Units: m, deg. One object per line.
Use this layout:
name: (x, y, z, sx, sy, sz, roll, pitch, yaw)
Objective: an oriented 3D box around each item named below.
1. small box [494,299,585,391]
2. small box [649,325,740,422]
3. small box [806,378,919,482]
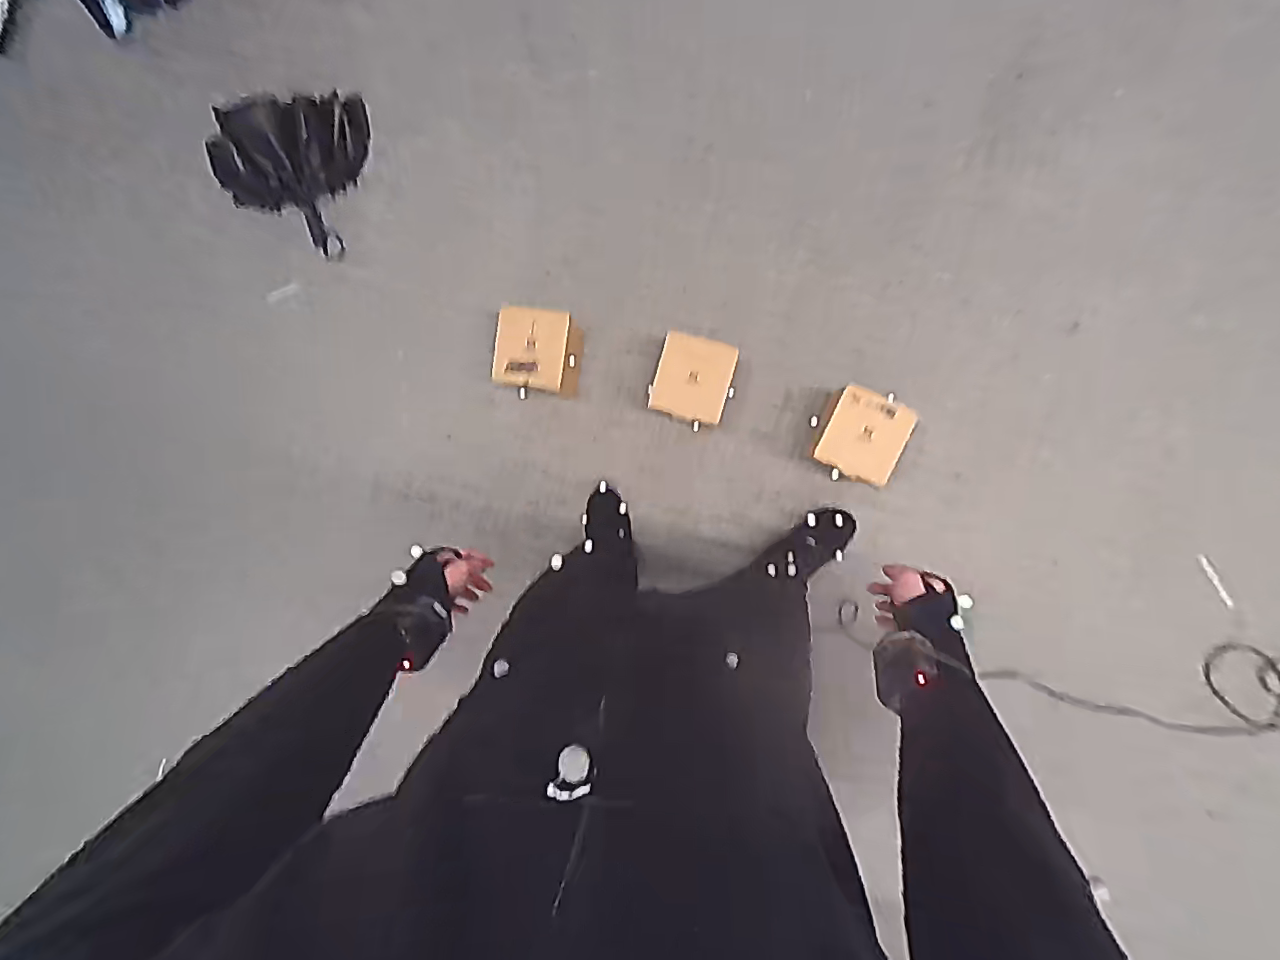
small box: (-0.234, -0.317, 1.300, 0.168, 0.176, 0.179, 9, 93, 5)
small box: (0.127, -0.241, 1.268, 0.168, 0.176, 0.179, 16, 94, 4)
small box: (0.494, -0.112, 1.234, 0.168, 0.176, 0.179, 26, 96, 5)
